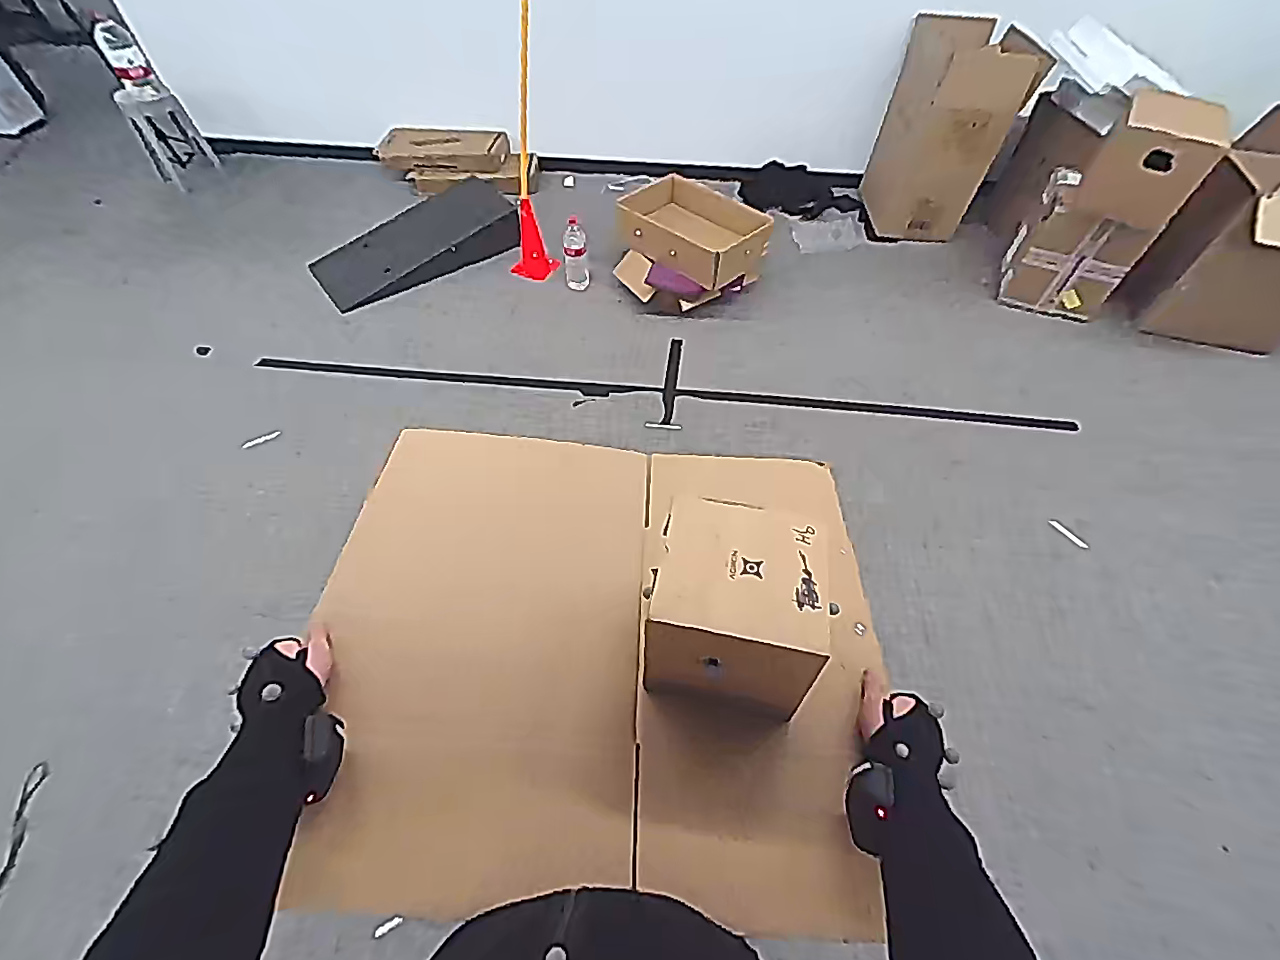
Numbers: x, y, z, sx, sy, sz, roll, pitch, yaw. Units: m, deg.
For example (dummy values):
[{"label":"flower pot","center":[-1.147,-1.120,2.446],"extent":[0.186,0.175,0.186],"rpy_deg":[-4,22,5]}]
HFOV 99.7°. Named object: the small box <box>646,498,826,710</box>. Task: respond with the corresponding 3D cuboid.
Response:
[{"label":"small box","center":[0.107,0.146,0.628],"extent":[0.179,0.176,0.168],"rpy_deg":[9,48,8]}]
